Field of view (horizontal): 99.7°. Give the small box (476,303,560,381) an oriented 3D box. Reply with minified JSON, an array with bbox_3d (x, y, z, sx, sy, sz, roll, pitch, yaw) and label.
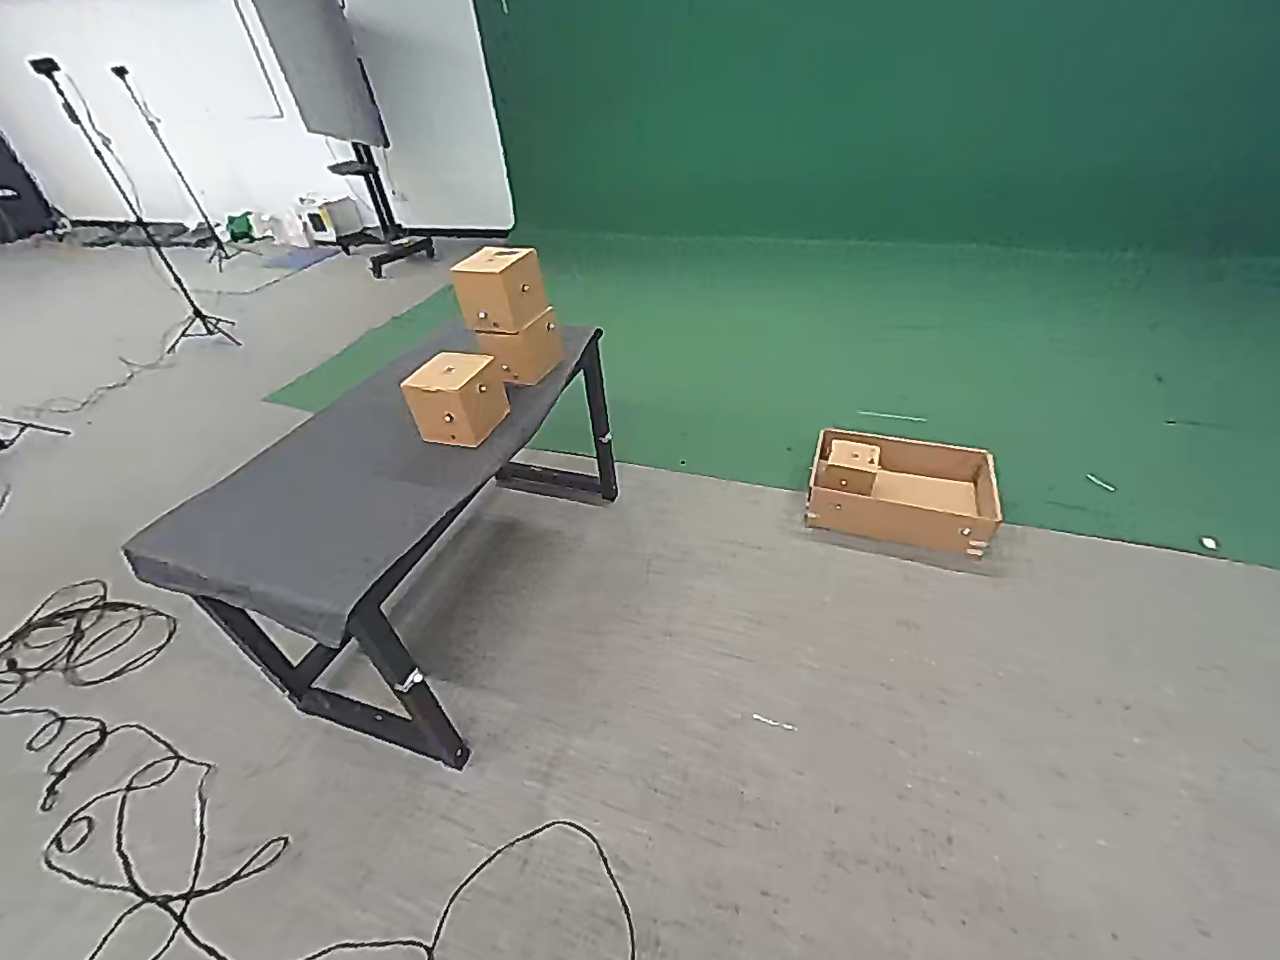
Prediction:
[{"bbox_3d":[-0.349,-0.412,1.584,0.168,0.176,0.179,12,44,22],"label":"small box"}]

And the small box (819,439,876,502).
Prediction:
[{"bbox_3d":[0.800,-0.034,2.089,0.179,0.176,0.168,12,44,19],"label":"small box"}]

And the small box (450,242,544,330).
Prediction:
[{"bbox_3d":[-0.379,-0.531,1.474,0.168,0.176,0.179,11,44,21],"label":"small box"}]

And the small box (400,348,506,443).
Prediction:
[{"bbox_3d":[-0.461,-0.213,1.366,0.168,0.176,0.179,9,41,17],"label":"small box"}]
